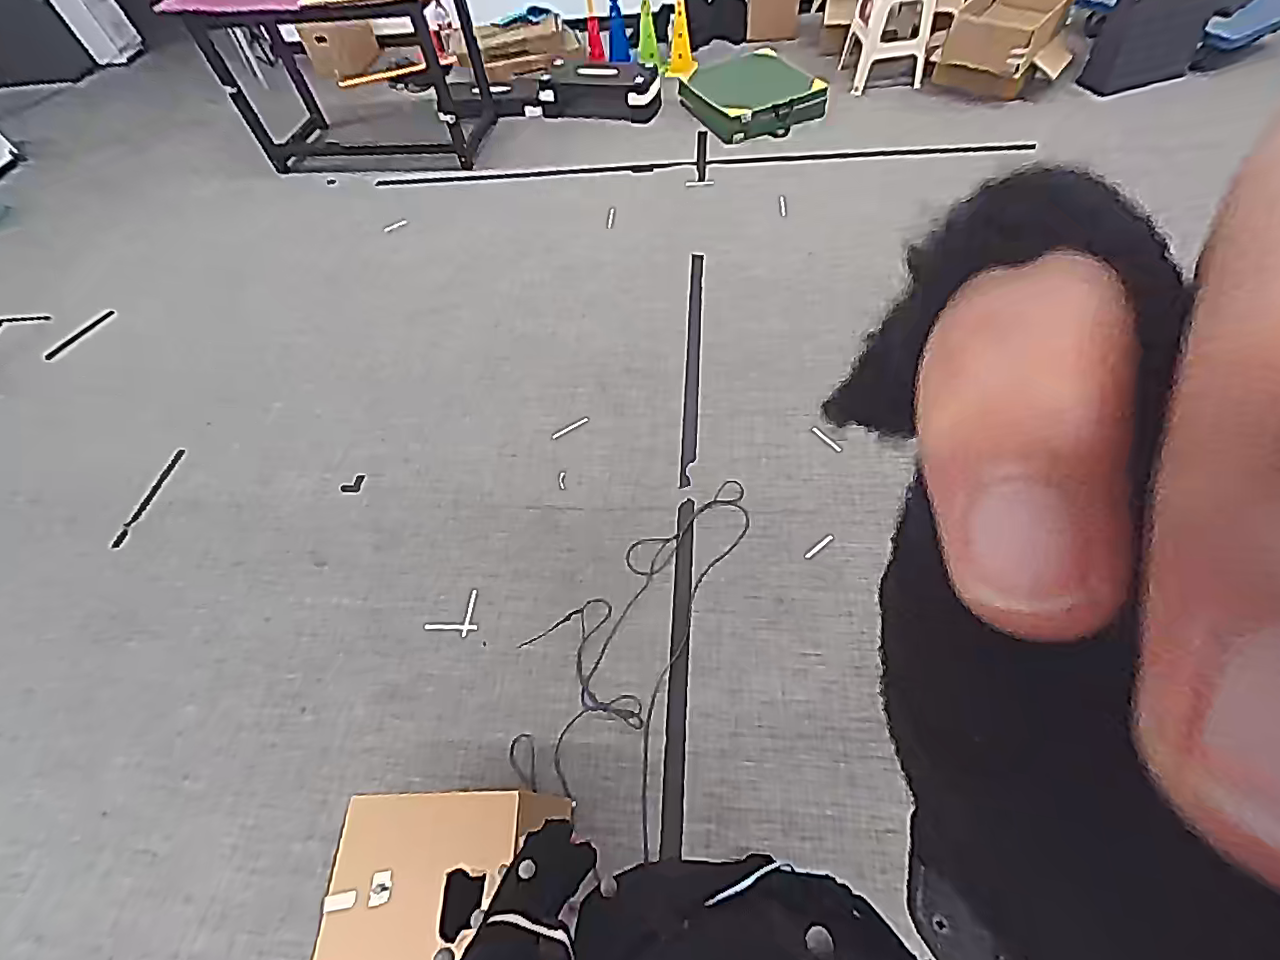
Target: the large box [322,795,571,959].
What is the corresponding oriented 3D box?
[{"bbox_3d":[-0.332,0.791,1.035,0.320,0.408,0.320,-3,58,5],"label":"large box"}]
